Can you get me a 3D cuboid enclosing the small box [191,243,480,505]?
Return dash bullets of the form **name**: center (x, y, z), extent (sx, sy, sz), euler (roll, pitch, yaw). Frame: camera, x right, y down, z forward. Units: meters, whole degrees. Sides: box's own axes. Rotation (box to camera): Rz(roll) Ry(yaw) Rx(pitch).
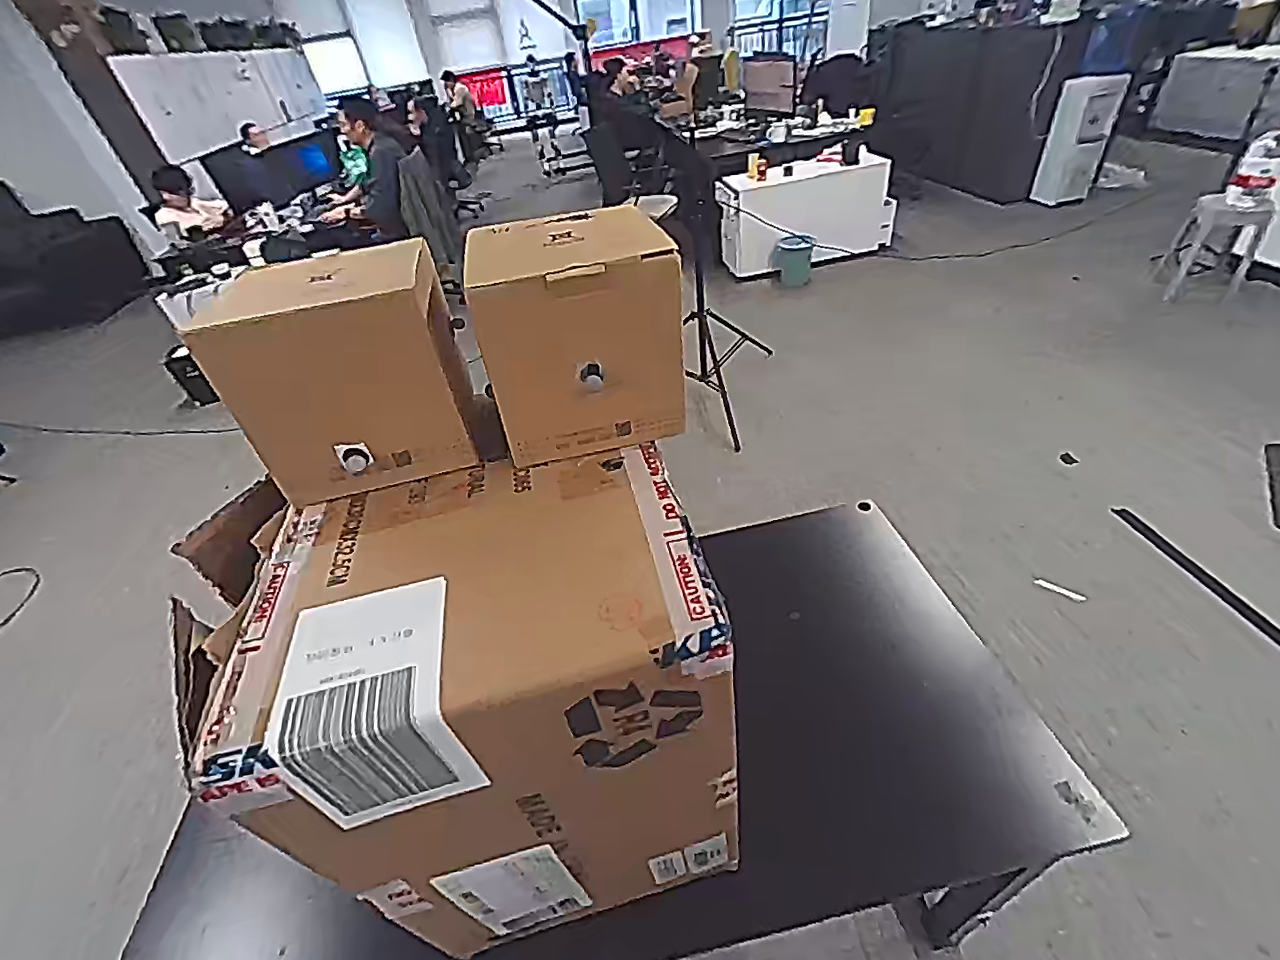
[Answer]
- **small box**: center (-0.259, -0.105, 0.512), extent (0.168, 0.176, 0.179), euler (-16, 39, -8)
